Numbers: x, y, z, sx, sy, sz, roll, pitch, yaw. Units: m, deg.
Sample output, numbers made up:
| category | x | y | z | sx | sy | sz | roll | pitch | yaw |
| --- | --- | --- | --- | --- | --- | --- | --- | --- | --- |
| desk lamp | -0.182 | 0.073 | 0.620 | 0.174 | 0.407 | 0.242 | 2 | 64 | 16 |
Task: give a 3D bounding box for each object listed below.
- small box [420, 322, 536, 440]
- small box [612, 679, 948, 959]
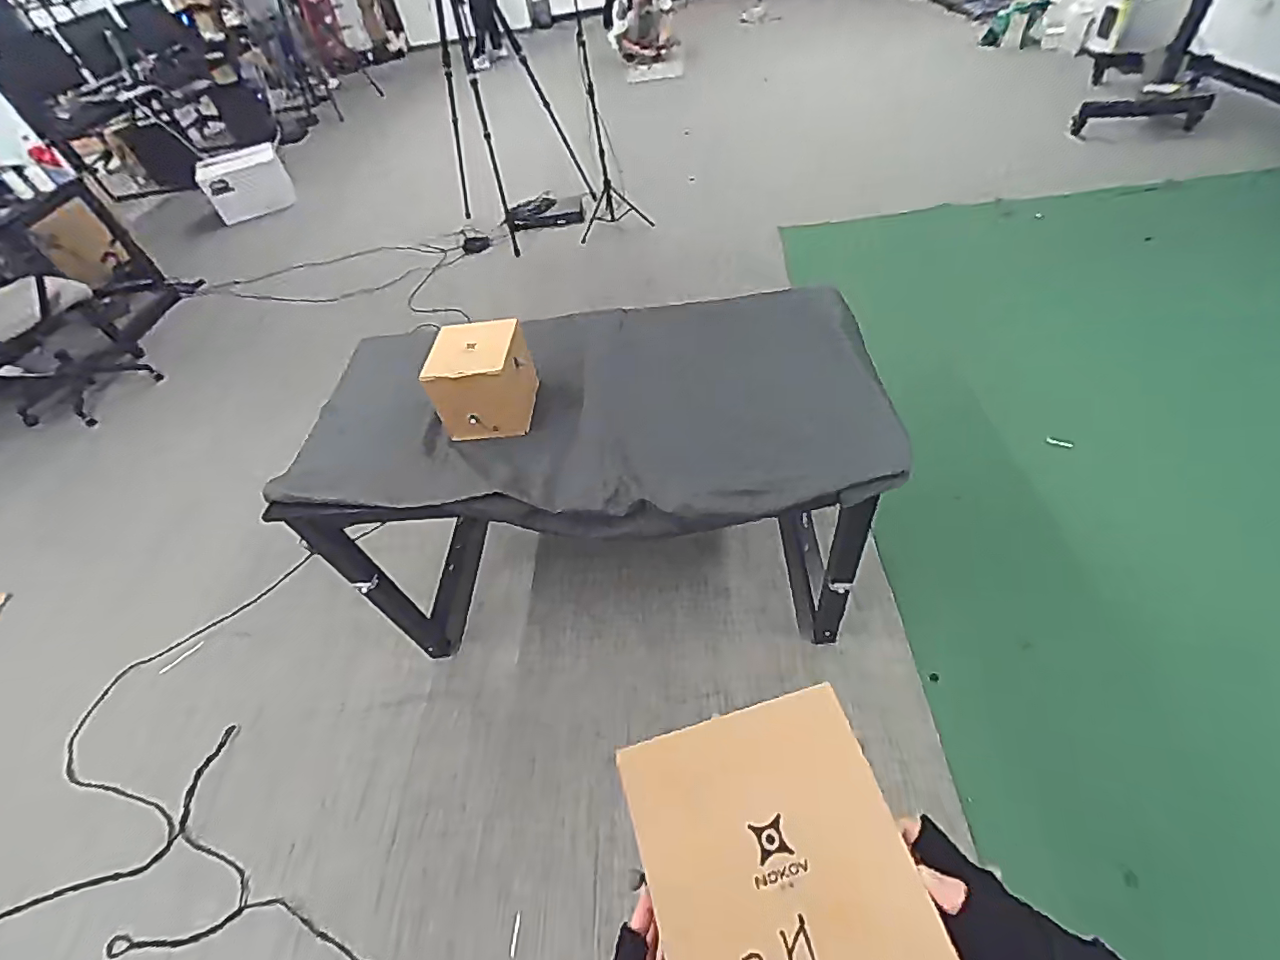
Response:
| category | x | y | z | sx | sy | sz | roll | pitch | yaw |
| --- | --- | --- | --- | --- | --- | --- | --- | --- | --- |
| small box | -0.323 | -0.204 | 1.123 | 0.168 | 0.176 | 0.179 | -4 | 49 | 6 |
| small box | 0.081 | 0.279 | 0.412 | 0.168 | 0.176 | 0.179 | -15 | 58 | -7 |
